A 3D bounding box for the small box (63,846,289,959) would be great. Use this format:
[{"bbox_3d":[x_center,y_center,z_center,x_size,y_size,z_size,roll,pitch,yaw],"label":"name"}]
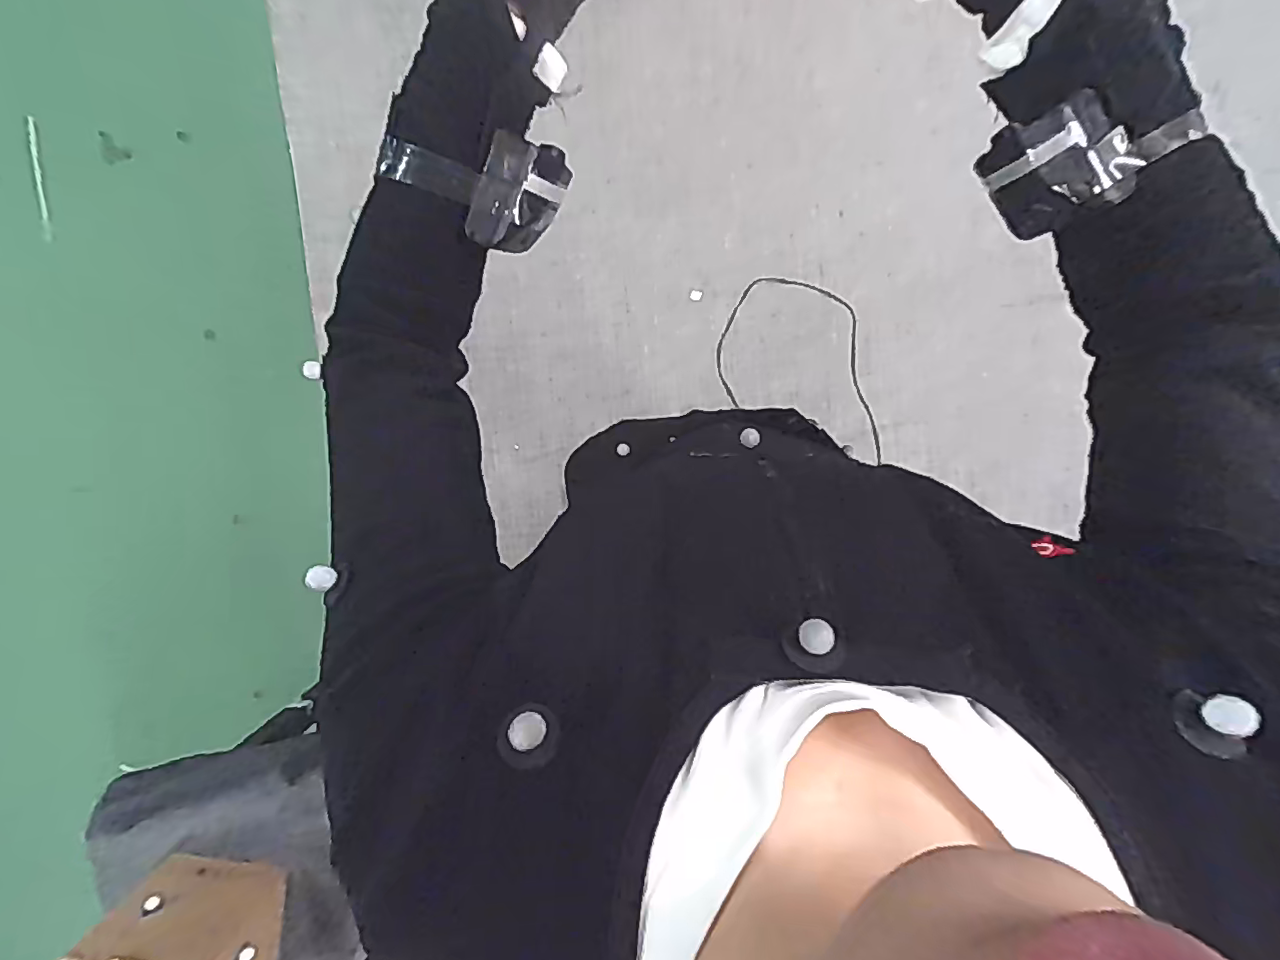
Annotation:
[{"bbox_3d":[-0.602,0.633,0.720,0.168,0.176,0.179,8,97,1],"label":"small box"}]
